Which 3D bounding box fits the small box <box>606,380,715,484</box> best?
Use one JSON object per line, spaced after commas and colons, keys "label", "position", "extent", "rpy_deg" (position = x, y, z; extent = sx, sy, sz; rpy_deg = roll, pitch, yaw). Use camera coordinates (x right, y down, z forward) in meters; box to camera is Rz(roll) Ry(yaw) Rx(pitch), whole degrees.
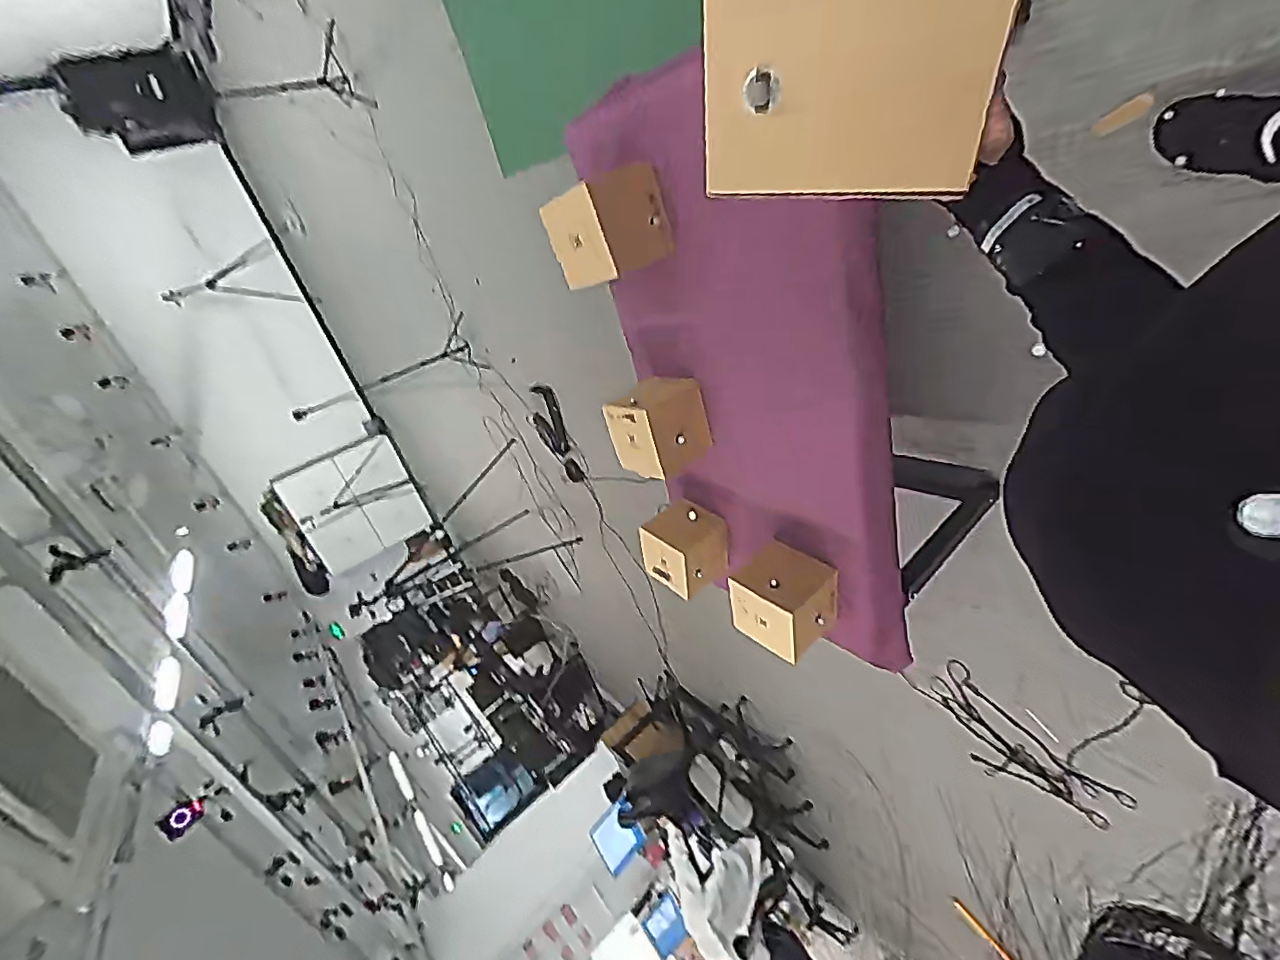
{"label": "small box", "position": [0.054, -0.117, 1.271], "extent": [0.168, 0.176, 0.179], "rpy_deg": [15, 132, 49]}

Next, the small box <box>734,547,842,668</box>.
{"label": "small box", "position": [0.339, 0.280, 1.228], "extent": [0.179, 0.176, 0.168], "rpy_deg": [26, 138, 44]}

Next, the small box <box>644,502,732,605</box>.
{"label": "small box", "position": [0.134, 0.193, 1.458], "extent": [0.168, 0.176, 0.179], "rpy_deg": [28, 139, 40]}

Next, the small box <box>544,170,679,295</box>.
{"label": "small box", "position": [-0.053, -0.482, 1.064], "extent": [0.179, 0.176, 0.168], "rpy_deg": [11, 129, 51]}
